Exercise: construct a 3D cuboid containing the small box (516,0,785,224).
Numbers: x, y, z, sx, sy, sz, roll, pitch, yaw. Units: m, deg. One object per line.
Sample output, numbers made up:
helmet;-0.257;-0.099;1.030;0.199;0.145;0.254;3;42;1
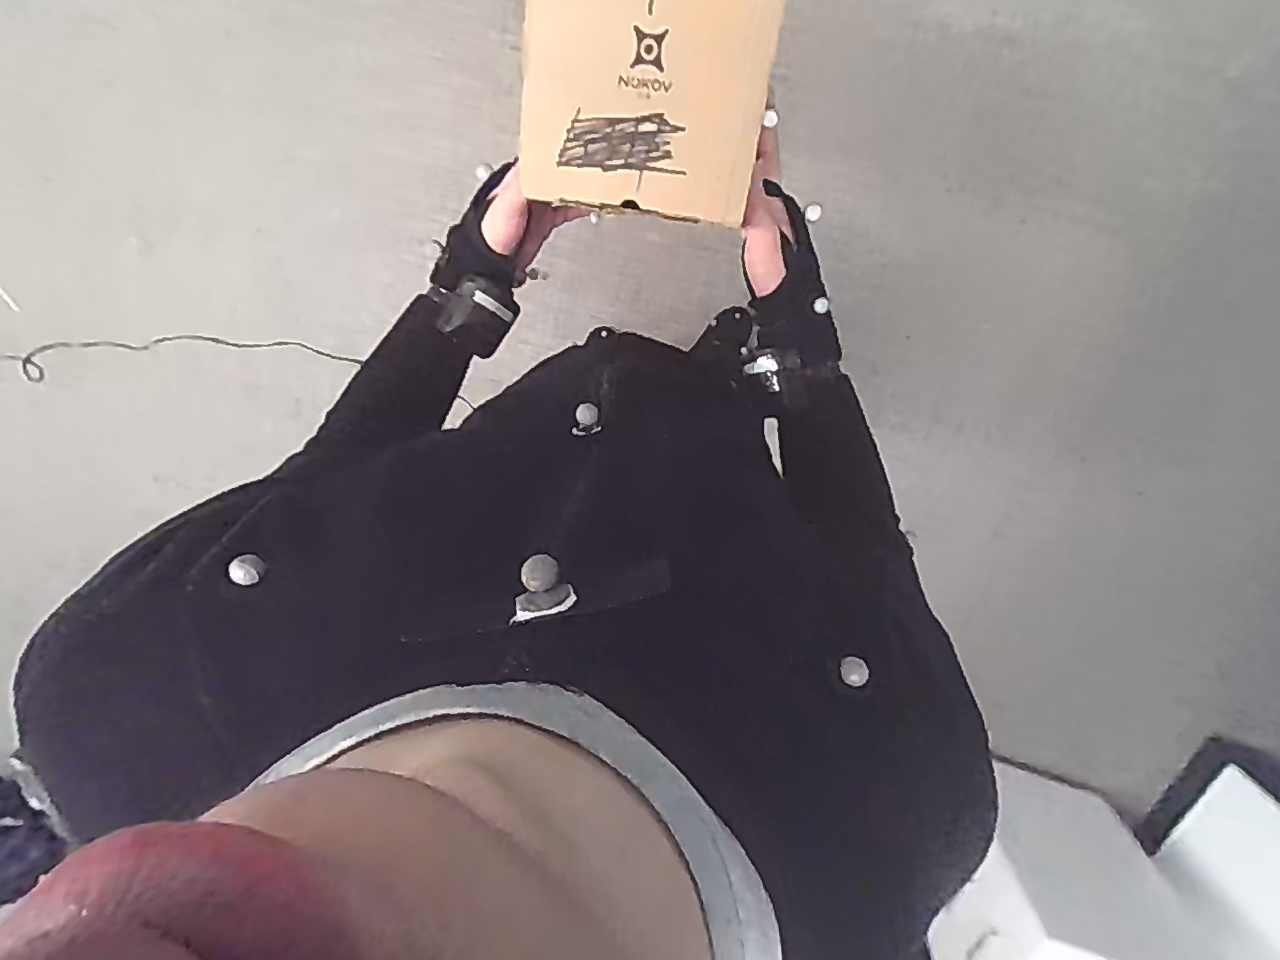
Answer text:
small box;0.012;-0.304;0.416;0.168;0.176;0.179;9;115;2
